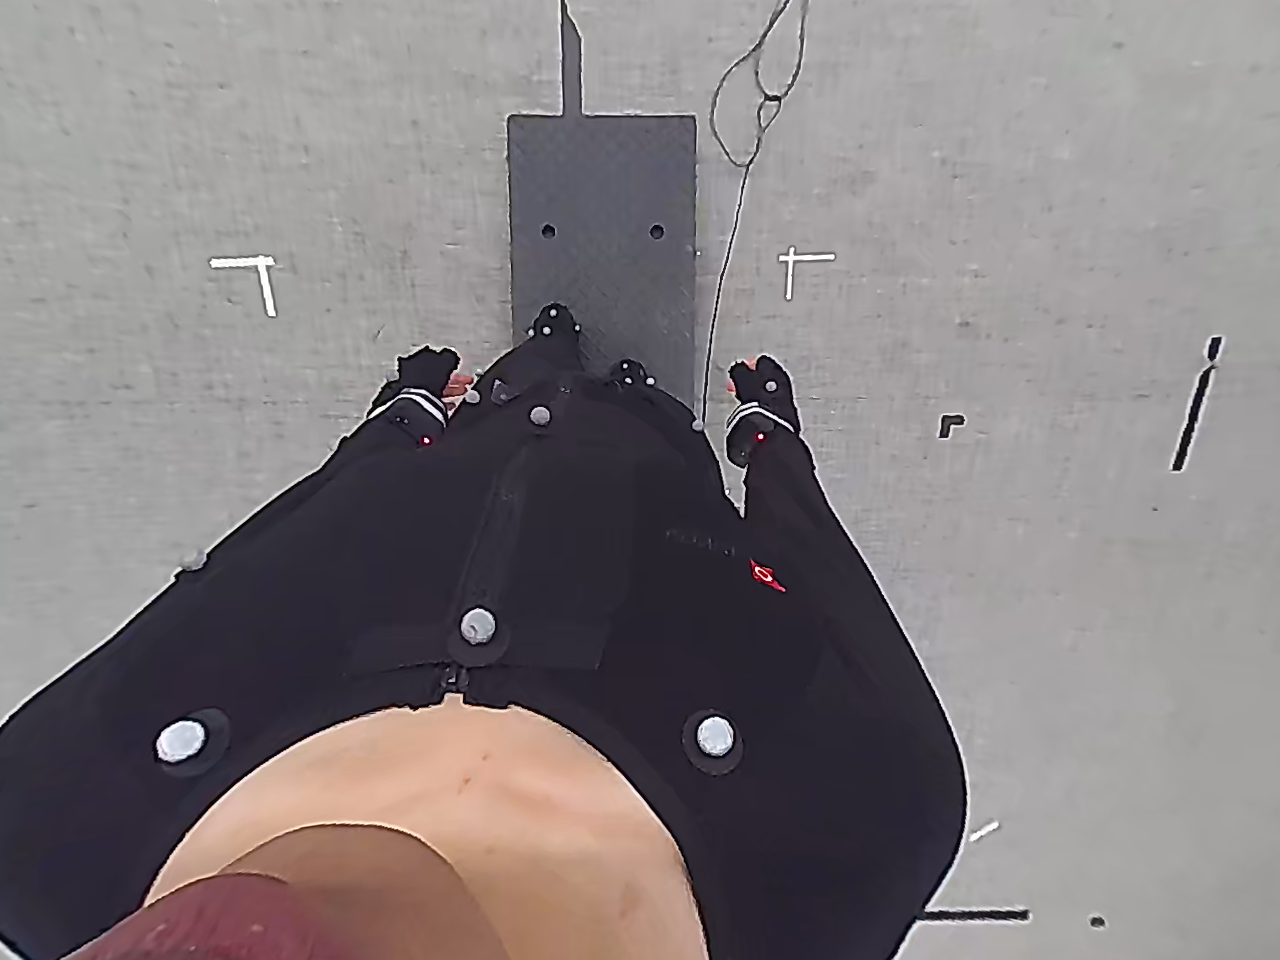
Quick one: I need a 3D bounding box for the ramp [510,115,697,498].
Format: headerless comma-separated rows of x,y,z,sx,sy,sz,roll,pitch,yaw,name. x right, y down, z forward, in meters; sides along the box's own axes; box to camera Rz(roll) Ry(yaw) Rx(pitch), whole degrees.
-0.094,-0.447,1.445,0.509,0.206,0.991,-2,105,1,ramp
